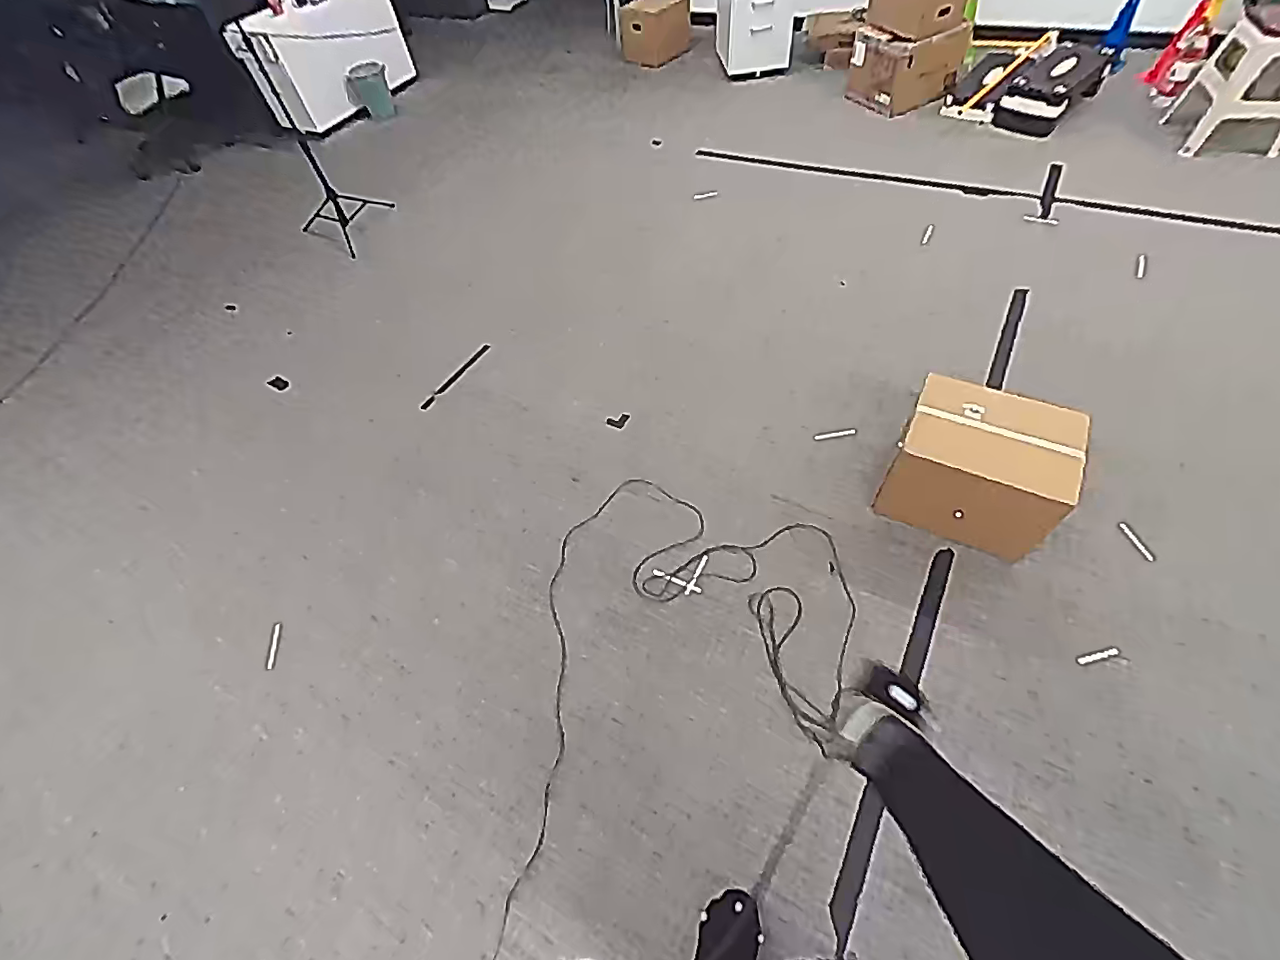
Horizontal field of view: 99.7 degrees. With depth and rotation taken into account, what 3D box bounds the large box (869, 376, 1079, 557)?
[{"bbox_3d":[0.929,-0.038,1.541,0.408,0.320,0.320,21,60,21],"label":"large box"}]
